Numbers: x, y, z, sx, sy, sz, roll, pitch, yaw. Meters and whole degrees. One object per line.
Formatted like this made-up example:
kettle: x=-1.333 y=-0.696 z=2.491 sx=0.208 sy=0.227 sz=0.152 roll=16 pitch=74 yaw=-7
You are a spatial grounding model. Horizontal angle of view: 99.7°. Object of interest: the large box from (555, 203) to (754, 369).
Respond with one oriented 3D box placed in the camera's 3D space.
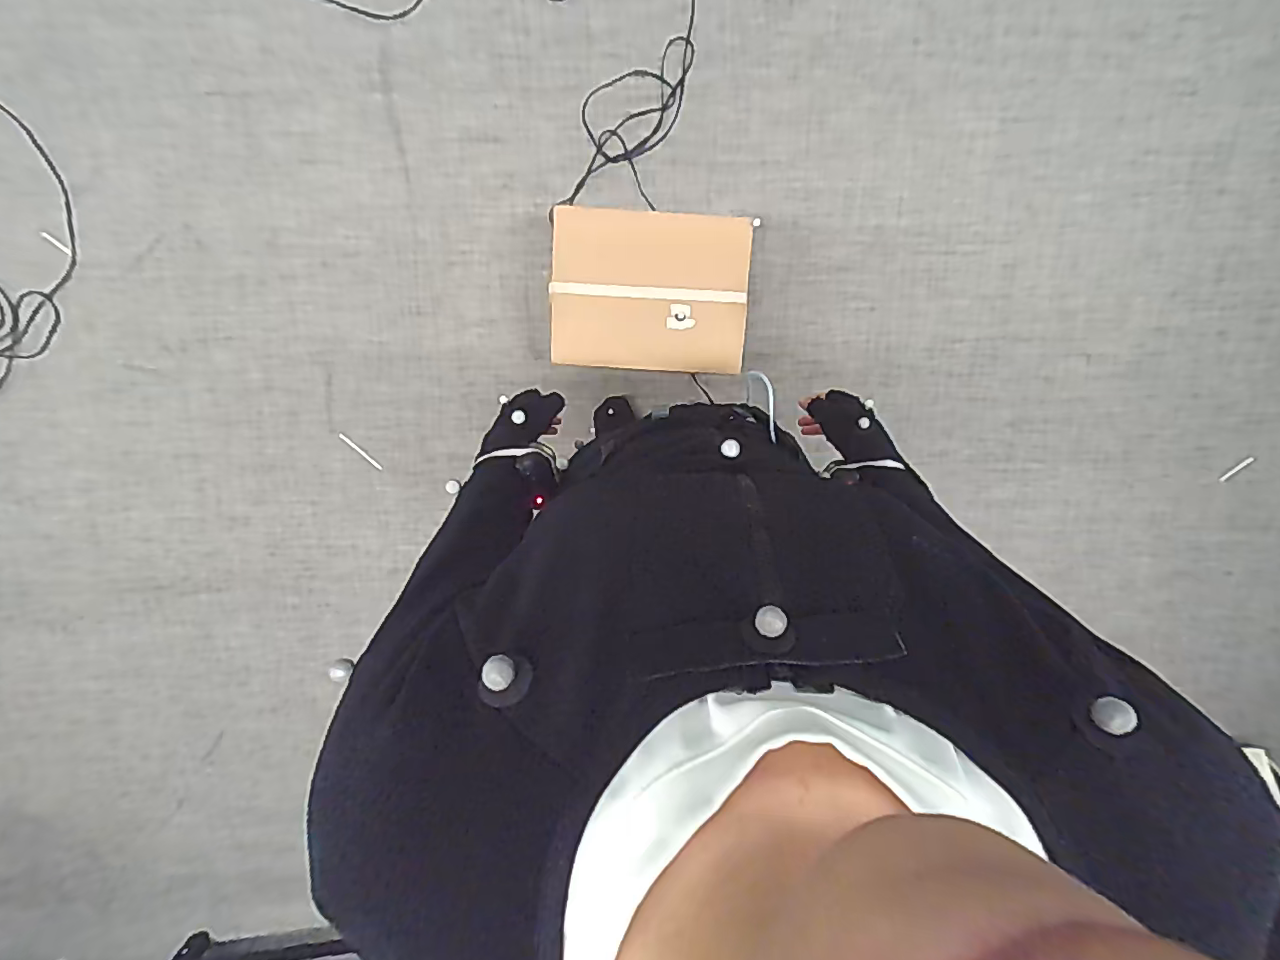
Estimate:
large box: x=0.023 y=-0.423 z=1.253 sx=0.408 sy=0.320 sz=0.320 roll=3 pitch=102 yaw=-1
